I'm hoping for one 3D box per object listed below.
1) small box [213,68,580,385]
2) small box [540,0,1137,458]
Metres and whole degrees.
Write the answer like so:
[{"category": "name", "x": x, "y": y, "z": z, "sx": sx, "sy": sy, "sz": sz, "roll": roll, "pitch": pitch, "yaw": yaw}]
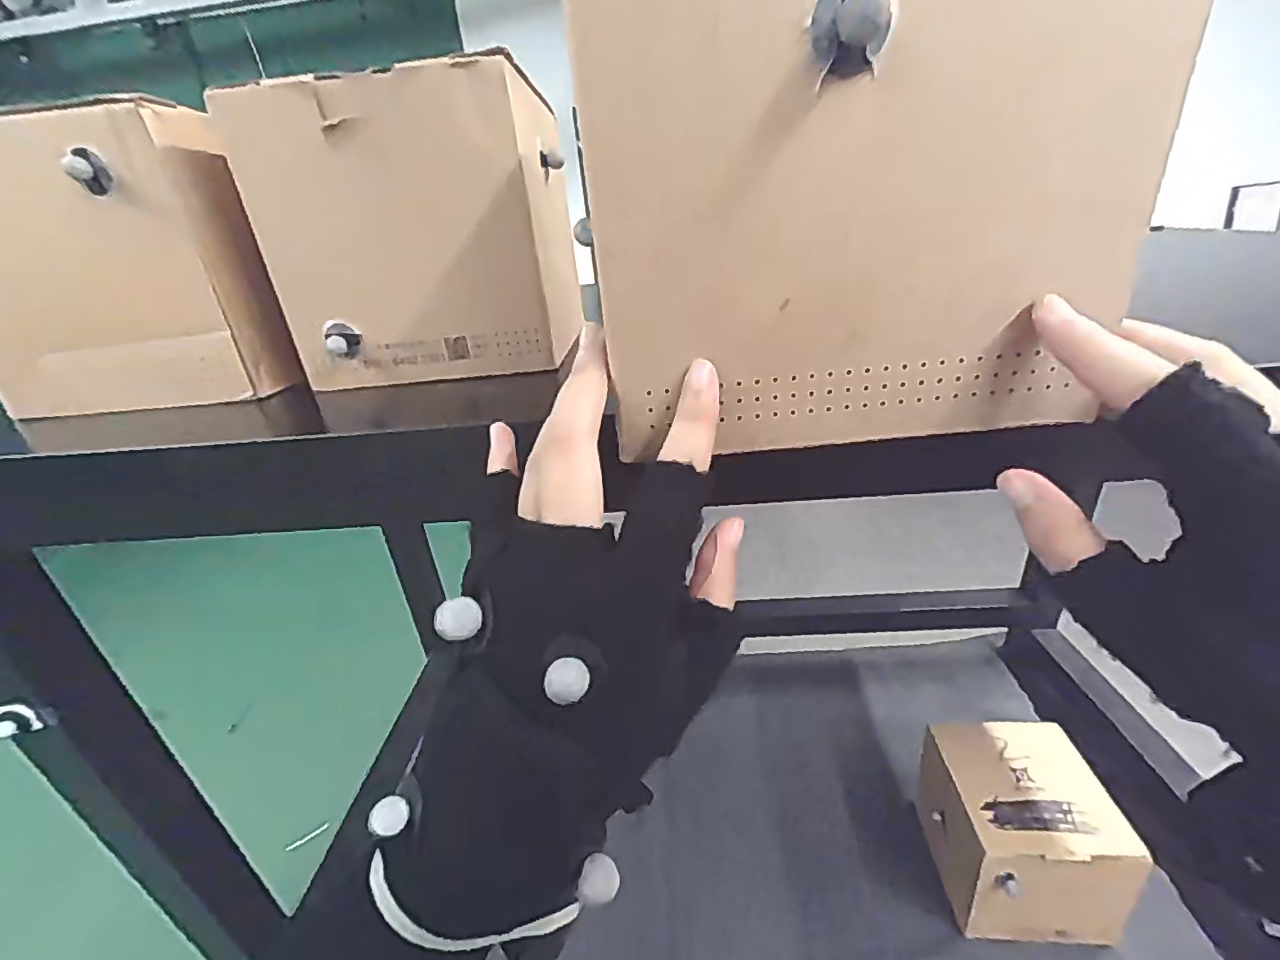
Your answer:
[{"category": "small box", "x": -0.142, "y": -0.169, "z": 0.397, "sx": 0.168, "sy": 0.176, "sz": 0.179, "roll": -4, "pitch": 25, "yaw": 3}, {"category": "small box", "x": 0.066, "y": -0.116, "z": 0.242, "sx": 0.179, "sy": 0.176, "sz": 0.168, "roll": -5, "pitch": 26, "yaw": 3}]
